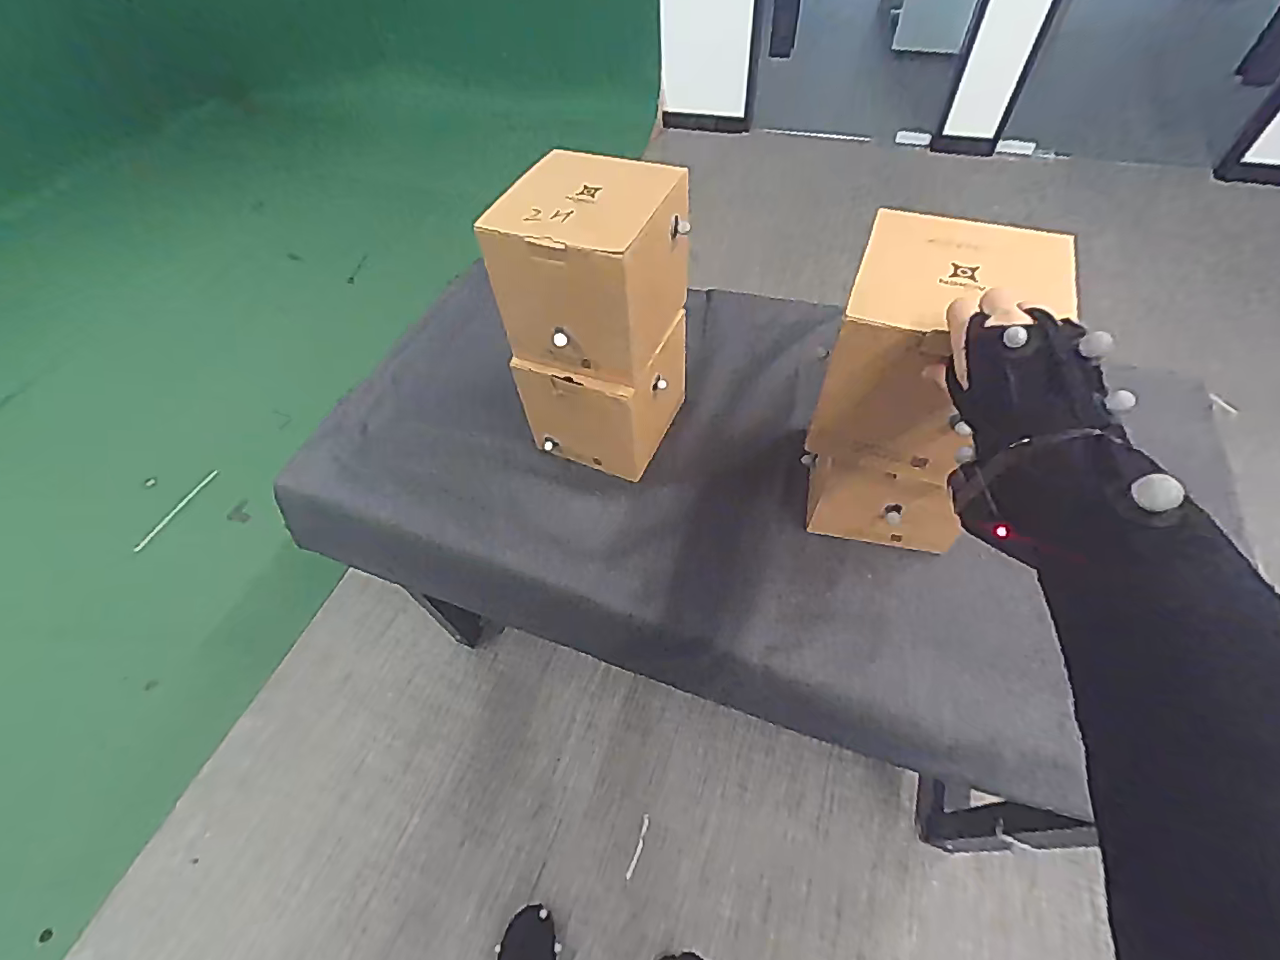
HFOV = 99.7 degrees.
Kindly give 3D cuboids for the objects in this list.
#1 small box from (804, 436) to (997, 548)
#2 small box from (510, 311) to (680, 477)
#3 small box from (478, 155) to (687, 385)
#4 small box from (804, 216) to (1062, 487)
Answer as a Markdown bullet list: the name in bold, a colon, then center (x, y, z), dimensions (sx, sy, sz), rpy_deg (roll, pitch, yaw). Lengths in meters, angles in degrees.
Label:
- **small box**: center (0.300, -0.037, 0.659), dimensions (0.168, 0.176, 0.179), rpy_deg (9, 56, 10)
- **small box**: center (-0.049, -0.132, 0.751), dimensions (0.168, 0.176, 0.179), rpy_deg (19, 57, 16)
- **small box**: center (-0.054, -0.241, 0.627), dimensions (0.168, 0.176, 0.179), rpy_deg (17, 57, 16)
- **small box**: center (0.266, -0.120, 0.520), dimensions (0.168, 0.176, 0.179), rpy_deg (17, 56, 15)
